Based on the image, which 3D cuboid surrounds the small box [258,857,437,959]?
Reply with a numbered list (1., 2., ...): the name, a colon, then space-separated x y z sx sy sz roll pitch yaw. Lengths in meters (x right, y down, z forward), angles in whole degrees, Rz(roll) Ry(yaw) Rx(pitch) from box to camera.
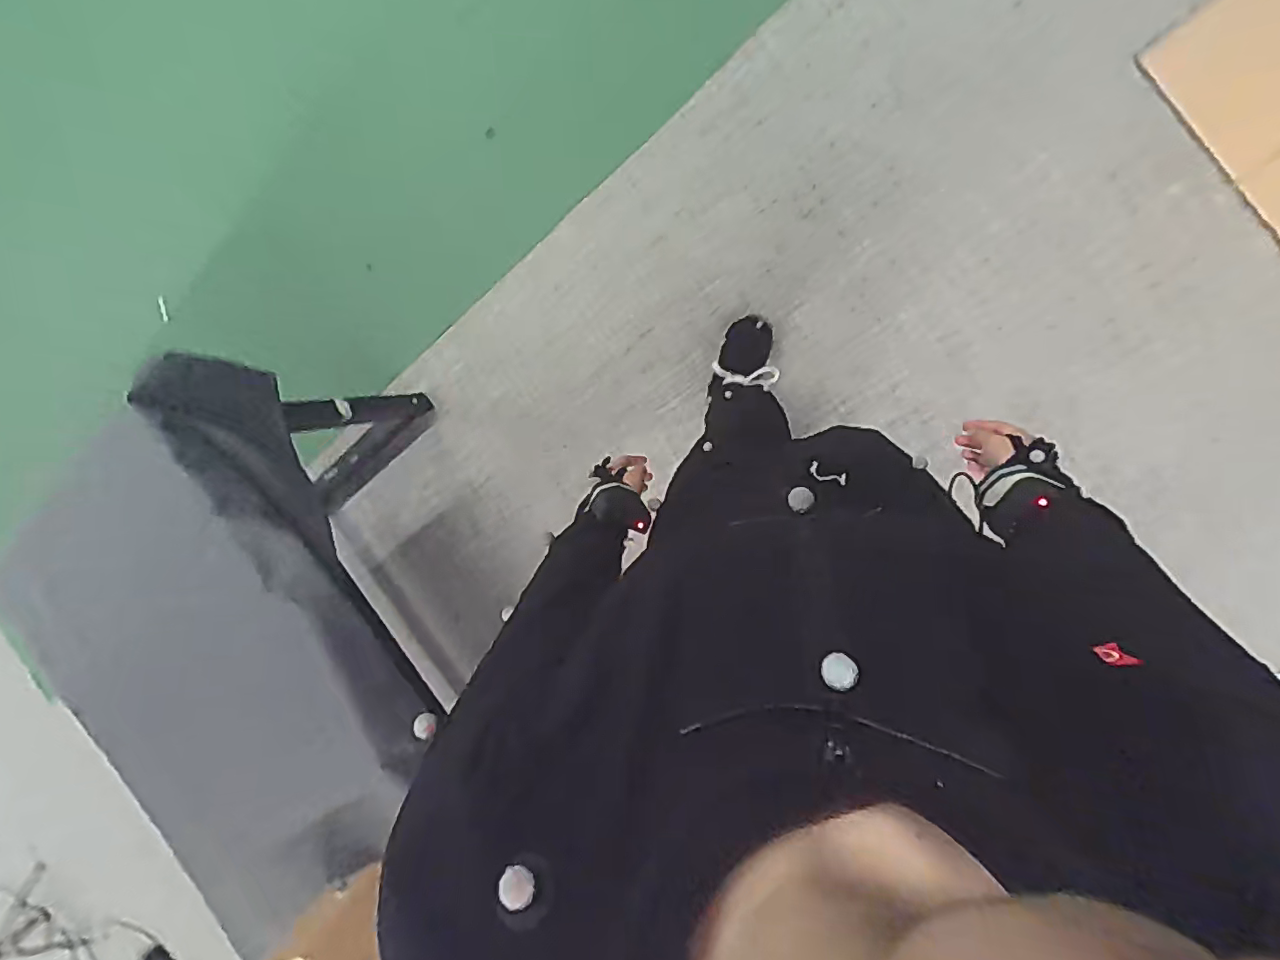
1. small box: -0.456 0.744 0.840 0.168 0.176 0.179 -36 89 18
